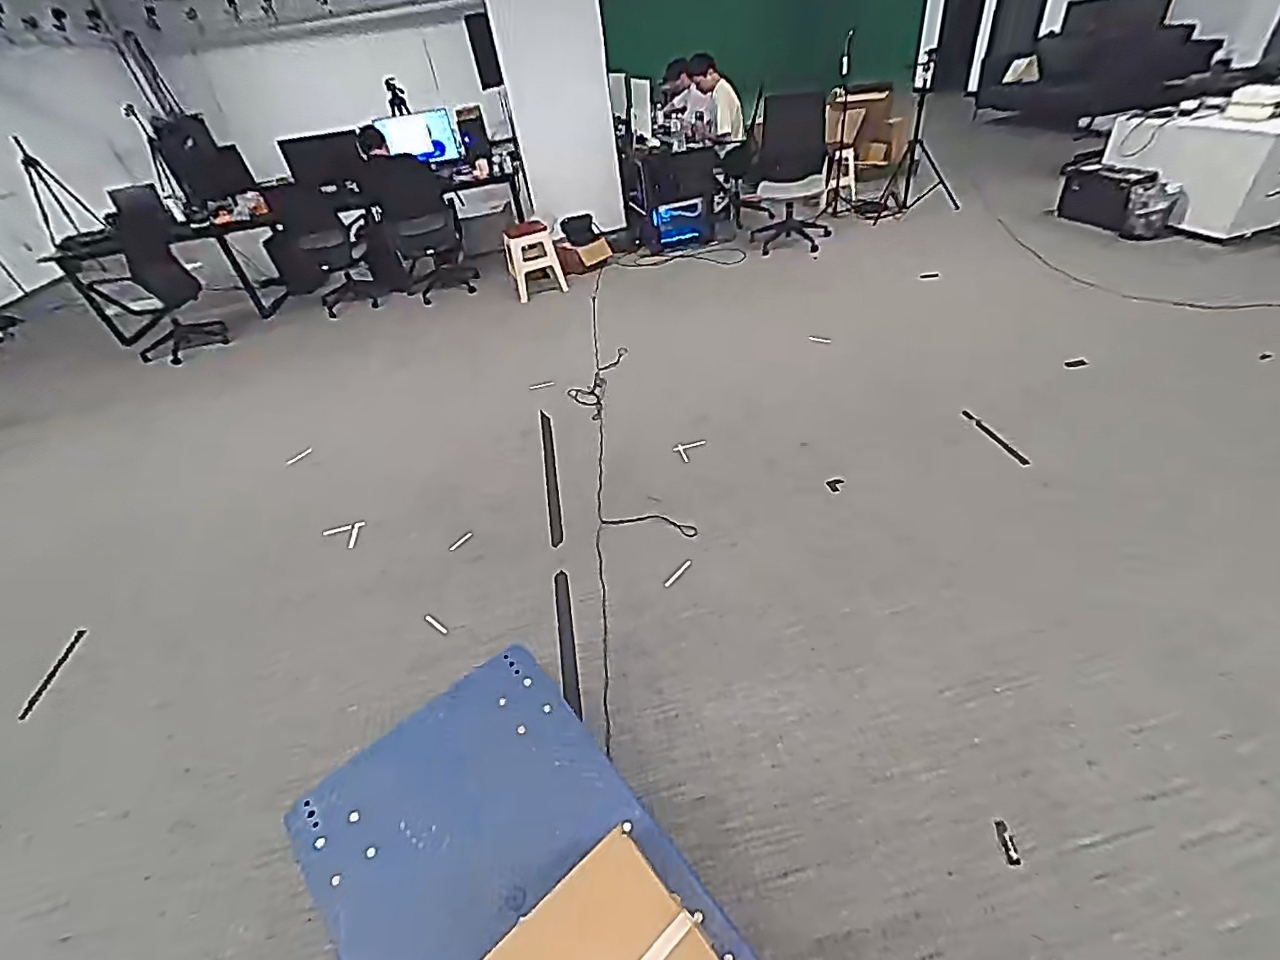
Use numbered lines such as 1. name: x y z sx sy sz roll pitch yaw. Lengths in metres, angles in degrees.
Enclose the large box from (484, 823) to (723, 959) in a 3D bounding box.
1. large box: -0.085 0.838 0.834 0.408 0.320 0.320 -34 61 -26
